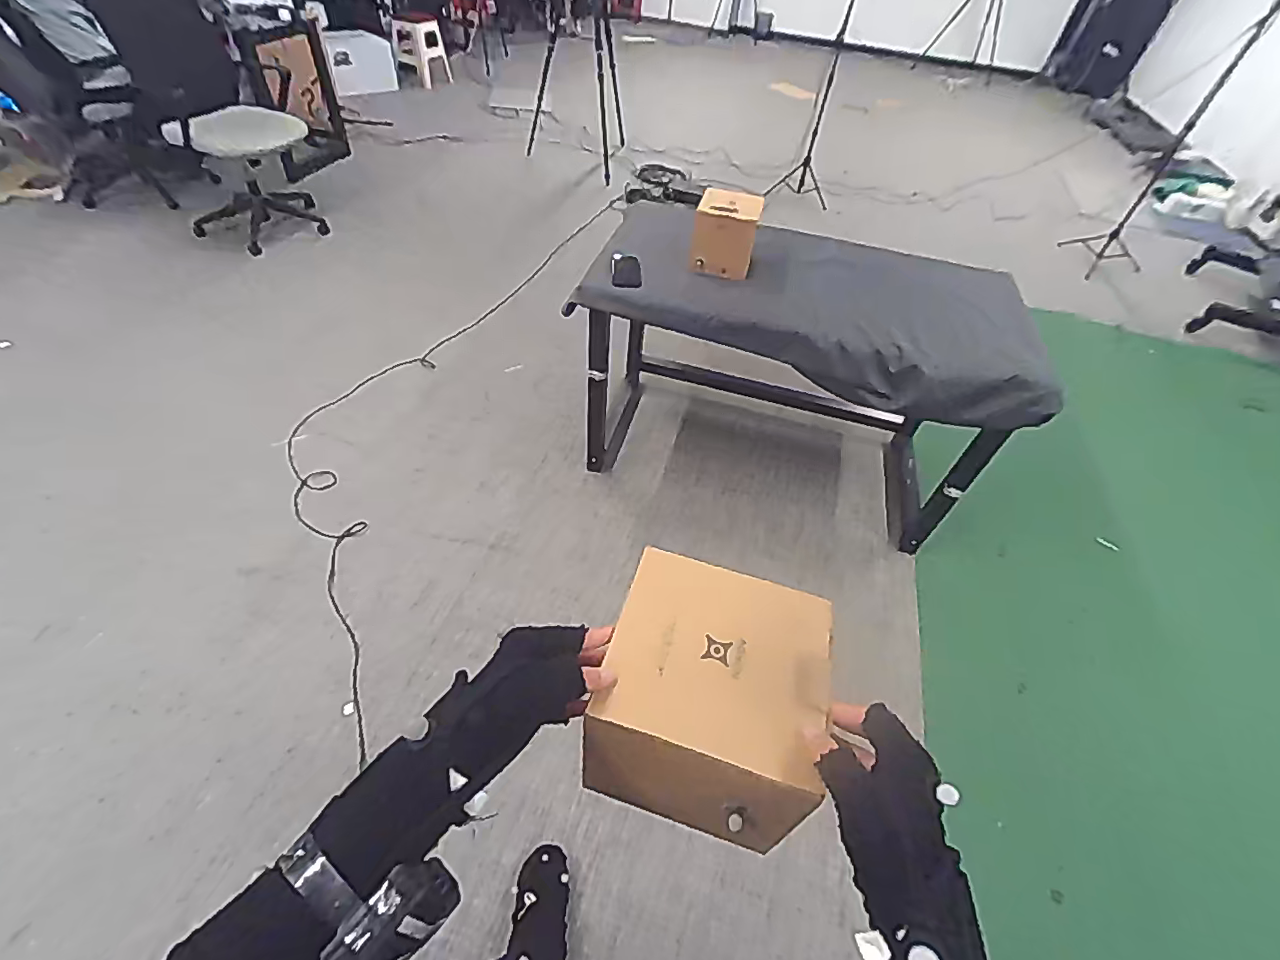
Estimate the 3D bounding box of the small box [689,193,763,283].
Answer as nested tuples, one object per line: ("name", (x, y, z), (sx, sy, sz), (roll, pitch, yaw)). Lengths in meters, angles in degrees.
("small box", (0.238, -0.679, 1.520), (0.168, 0.176, 0.179), (14, 47, 6))
